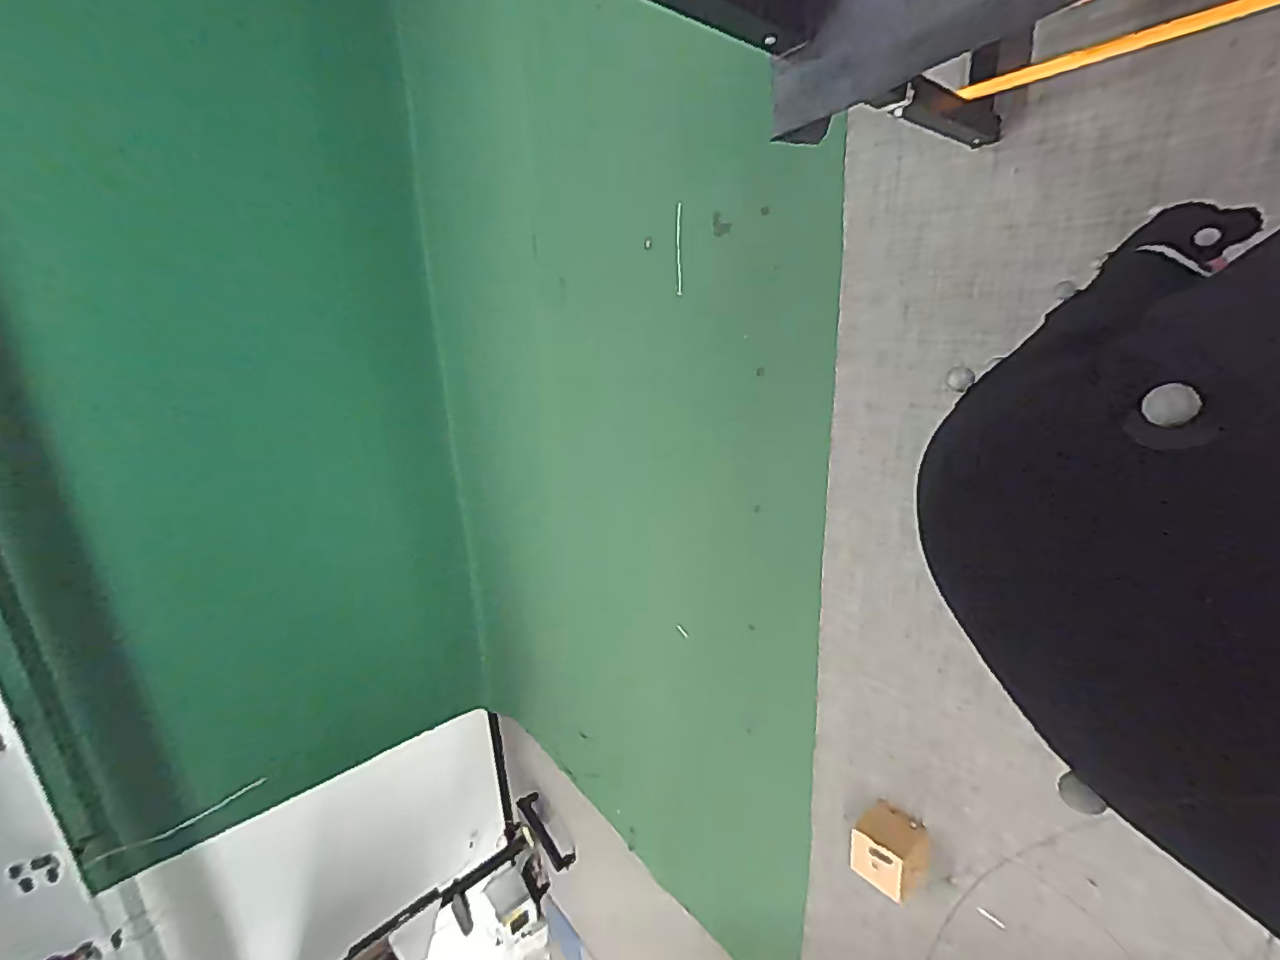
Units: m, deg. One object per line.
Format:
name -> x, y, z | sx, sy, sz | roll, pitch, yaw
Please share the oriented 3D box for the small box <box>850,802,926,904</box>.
small box -> 0.802, 1.191, 1.744 | 0.168, 0.176, 0.179 | 14, 113, 49
